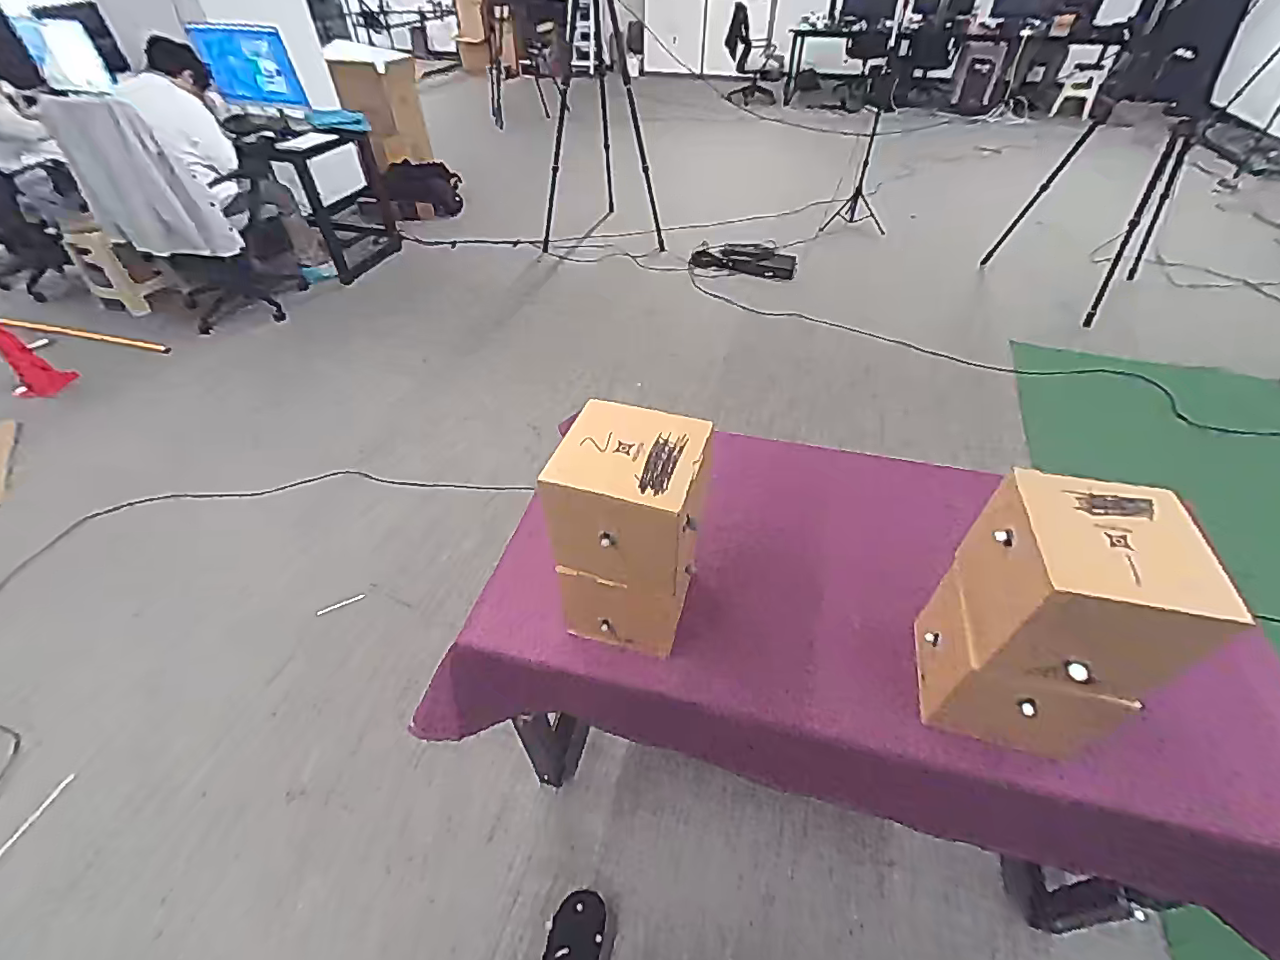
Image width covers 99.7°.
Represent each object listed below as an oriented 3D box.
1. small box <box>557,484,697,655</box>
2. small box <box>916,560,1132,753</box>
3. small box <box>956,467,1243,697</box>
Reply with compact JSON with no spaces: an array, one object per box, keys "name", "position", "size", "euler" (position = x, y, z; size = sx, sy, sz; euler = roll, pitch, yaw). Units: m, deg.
[{"name":"small box","position":[-0.015,0.137,0.834],"size":[0.168,0.176,0.179],"euler":[11,46,12]},{"name":"small box","position":[0.484,0.236,0.722],"size":[0.179,0.176,0.168],"euler":[11,46,12]},{"name":"small box","position":[0.484,0.113,0.612],"size":[0.168,0.176,0.179],"euler":[9,46,11]}]
